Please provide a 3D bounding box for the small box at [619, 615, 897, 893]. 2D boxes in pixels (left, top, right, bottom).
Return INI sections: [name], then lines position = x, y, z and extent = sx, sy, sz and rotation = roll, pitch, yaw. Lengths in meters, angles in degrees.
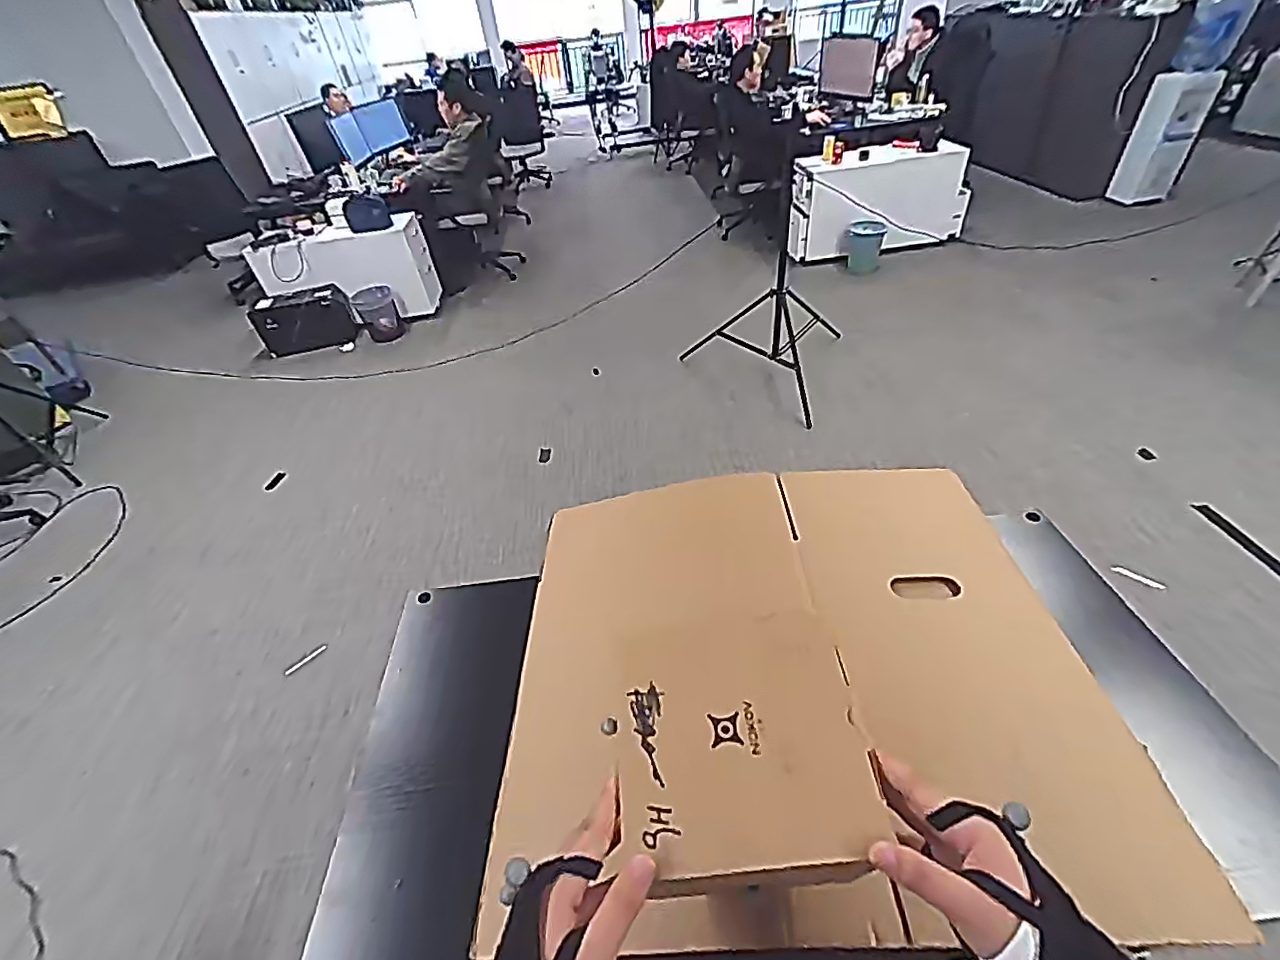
[small box]
position = 0.078, 0.232, 0.452
extent = 0.179, 0.176, 0.168
rotation = -6, 48, 1
